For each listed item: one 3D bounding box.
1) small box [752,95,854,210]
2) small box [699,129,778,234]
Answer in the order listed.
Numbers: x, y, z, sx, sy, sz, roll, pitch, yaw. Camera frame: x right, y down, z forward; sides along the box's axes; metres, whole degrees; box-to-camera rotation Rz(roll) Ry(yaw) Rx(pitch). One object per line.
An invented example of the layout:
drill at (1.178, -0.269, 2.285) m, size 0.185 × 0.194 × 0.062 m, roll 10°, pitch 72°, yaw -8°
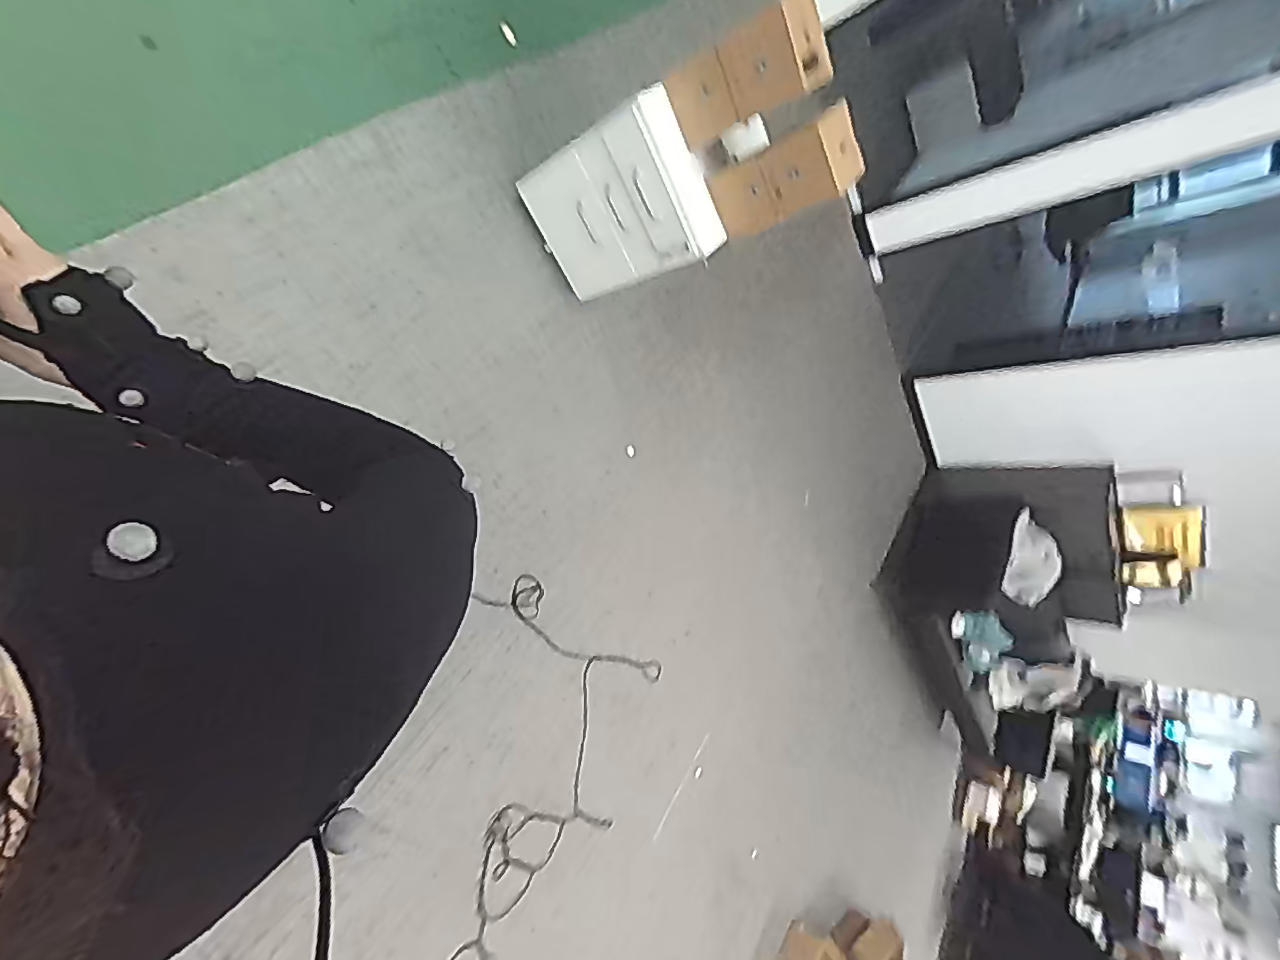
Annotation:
small box at (0.402, -0.810, 1.351) m, size 0.179 × 0.176 × 0.168 m, roll -51°, pitch 123°, yaw -30°
small box at (0.289, -0.805, 1.470) m, size 0.168 × 0.176 × 0.179 m, roll -49°, pitch 122°, yaw -31°
